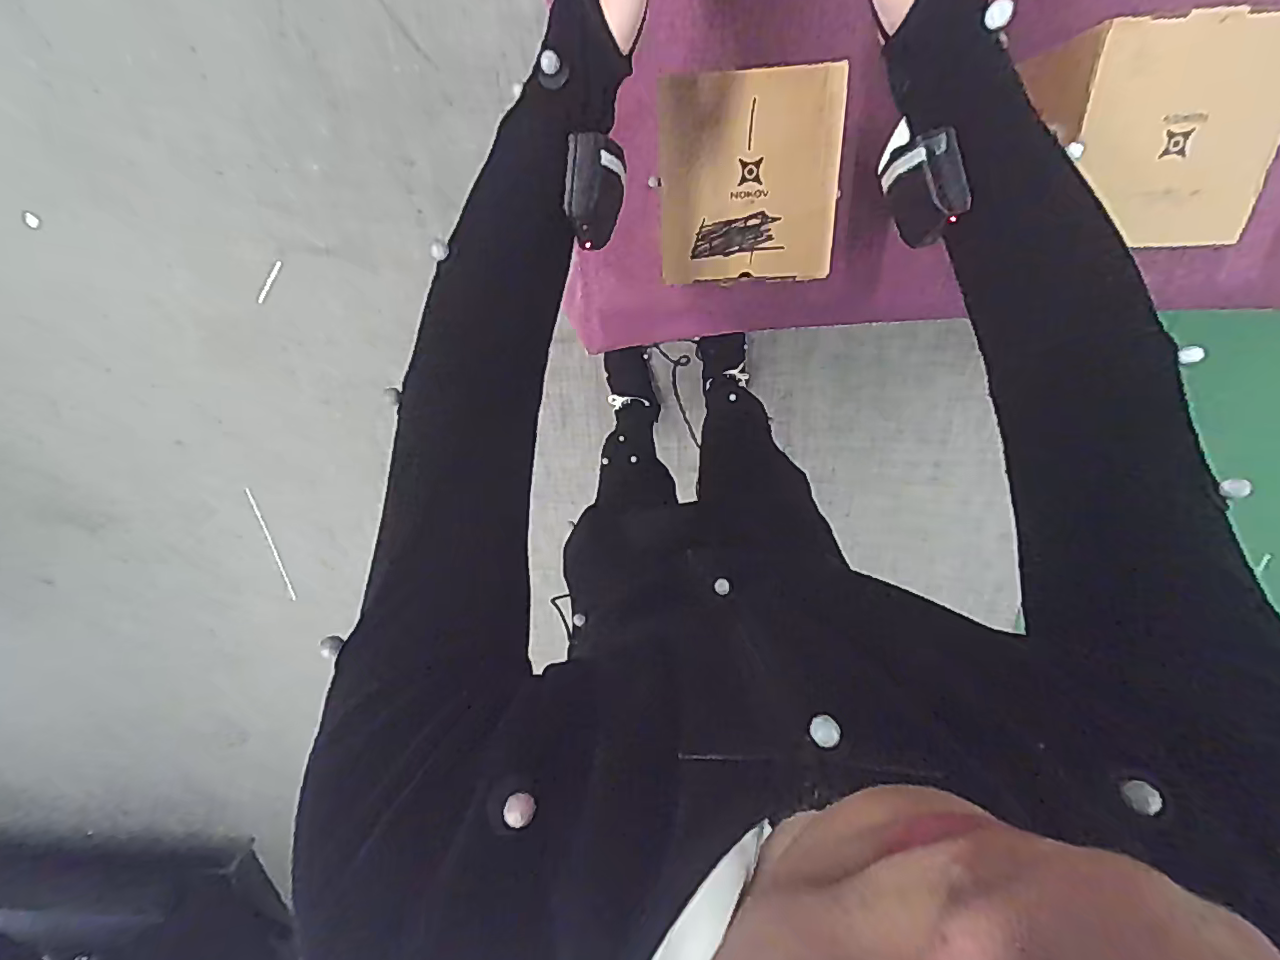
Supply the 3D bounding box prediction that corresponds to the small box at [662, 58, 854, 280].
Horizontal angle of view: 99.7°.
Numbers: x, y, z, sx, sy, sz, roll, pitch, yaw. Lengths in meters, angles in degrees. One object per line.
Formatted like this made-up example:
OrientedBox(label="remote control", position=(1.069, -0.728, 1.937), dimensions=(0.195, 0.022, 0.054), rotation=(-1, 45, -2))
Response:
OrientedBox(label="small box", position=(0.110, -0.316, 0.574), dimensions=(0.168, 0.176, 0.179), rotation=(-1, 116, 4))
